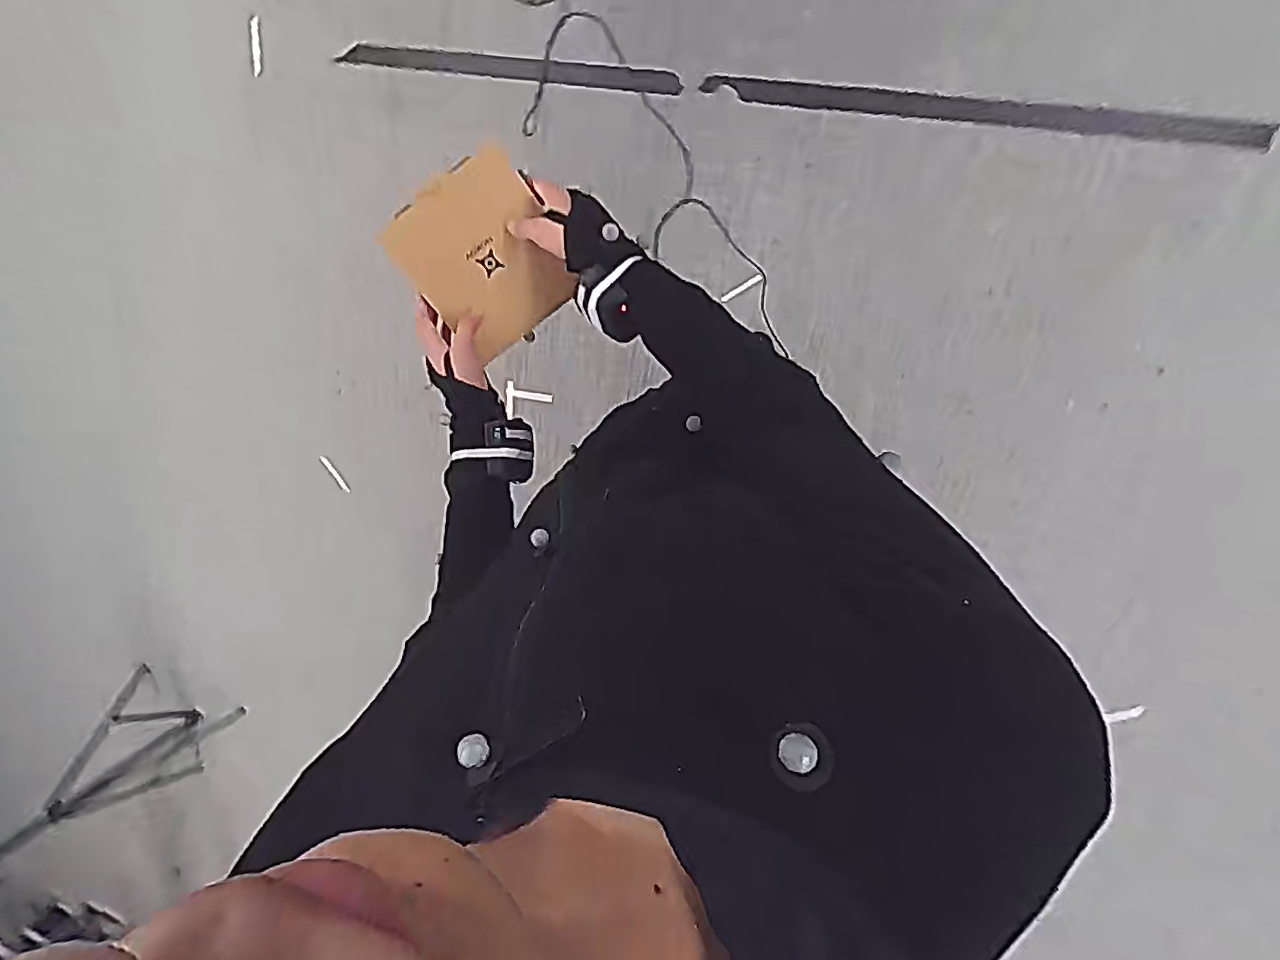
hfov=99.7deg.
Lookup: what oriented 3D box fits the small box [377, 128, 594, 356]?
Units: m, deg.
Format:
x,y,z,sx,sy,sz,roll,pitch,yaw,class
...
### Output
x,y,z,sx,sy,sz,roll,pitch,yaw,class
-0.173,-0.280,0.661,0.168,0.176,0.179,-35,111,5,small box
